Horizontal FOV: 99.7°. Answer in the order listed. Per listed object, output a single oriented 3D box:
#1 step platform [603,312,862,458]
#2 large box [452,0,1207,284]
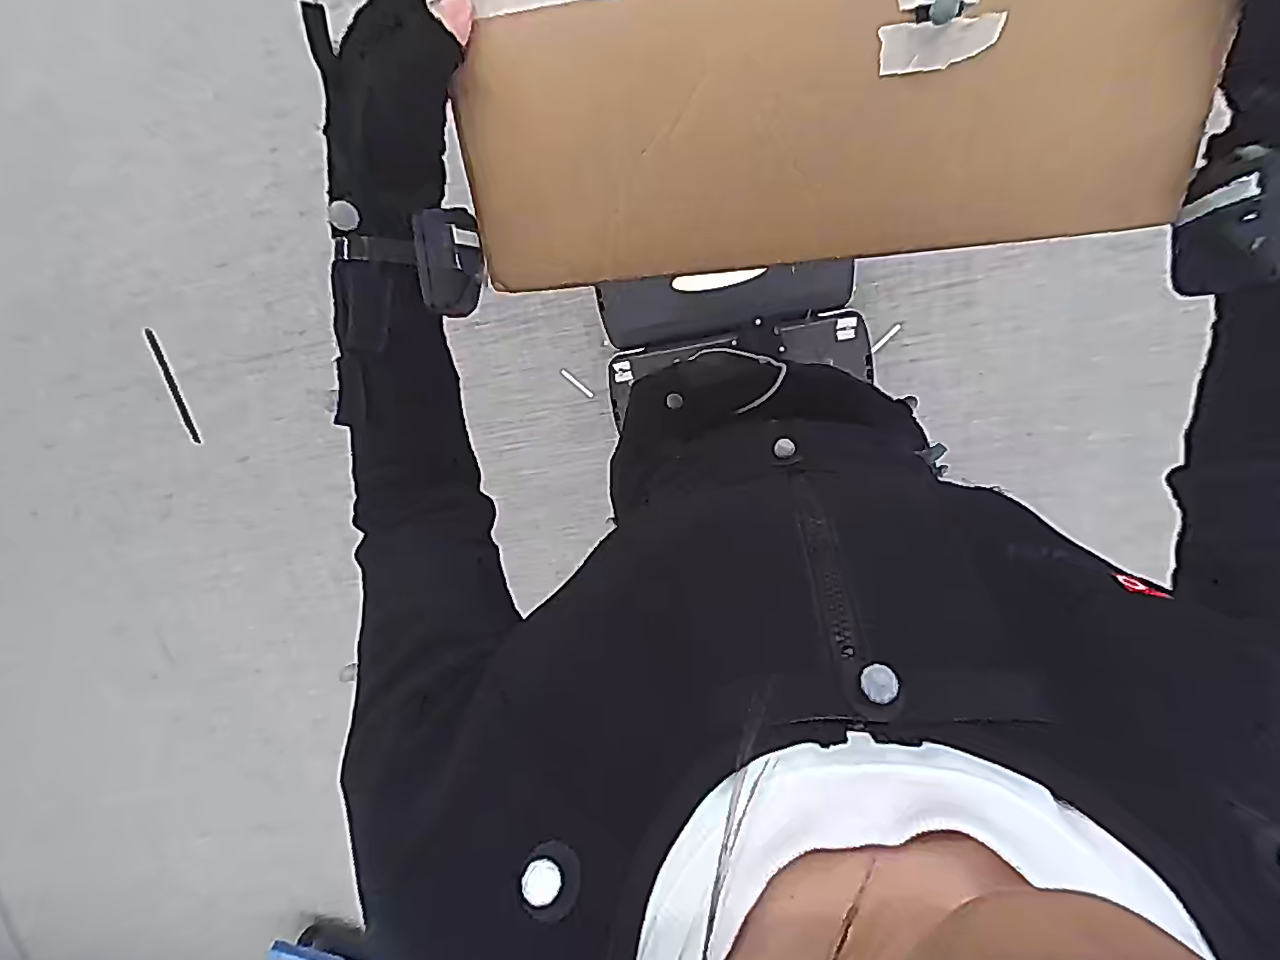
[{"bbox_3d":[0.242,-0.254,1.484,0.684,0.204,0.286,-9,105,13],"label":"step platform"},{"bbox_3d":[0.102,-0.351,0.414,0.408,0.320,0.320,-3,117,10],"label":"large box"}]
